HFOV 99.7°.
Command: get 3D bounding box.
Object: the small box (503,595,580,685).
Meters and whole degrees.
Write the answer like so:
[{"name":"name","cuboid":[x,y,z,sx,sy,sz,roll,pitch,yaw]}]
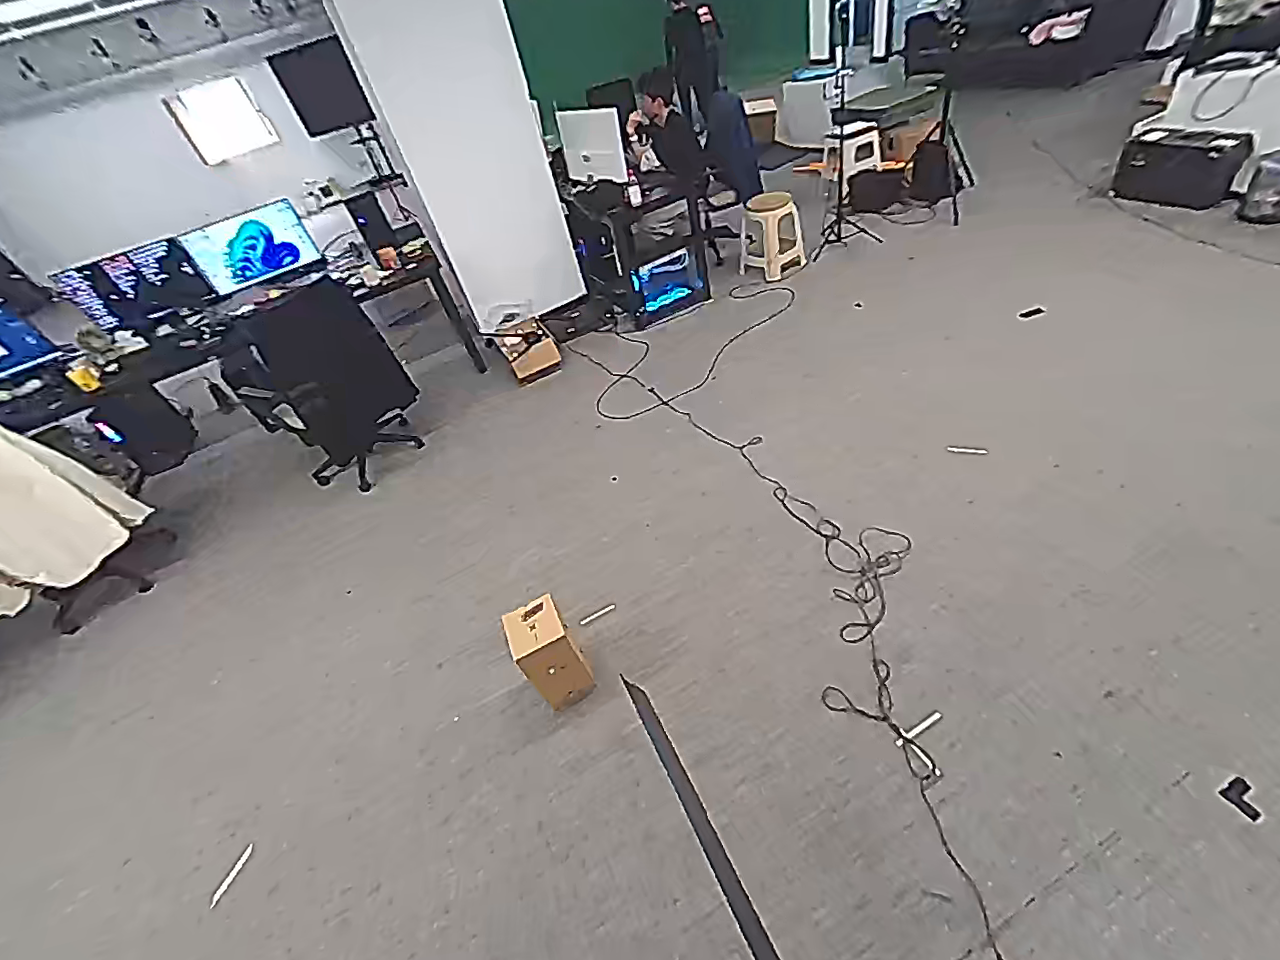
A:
[{"name":"small box","cuboid":[-0.304,0.498,1.683,0.168,0.176,0.179,-26,43,-9]}]
